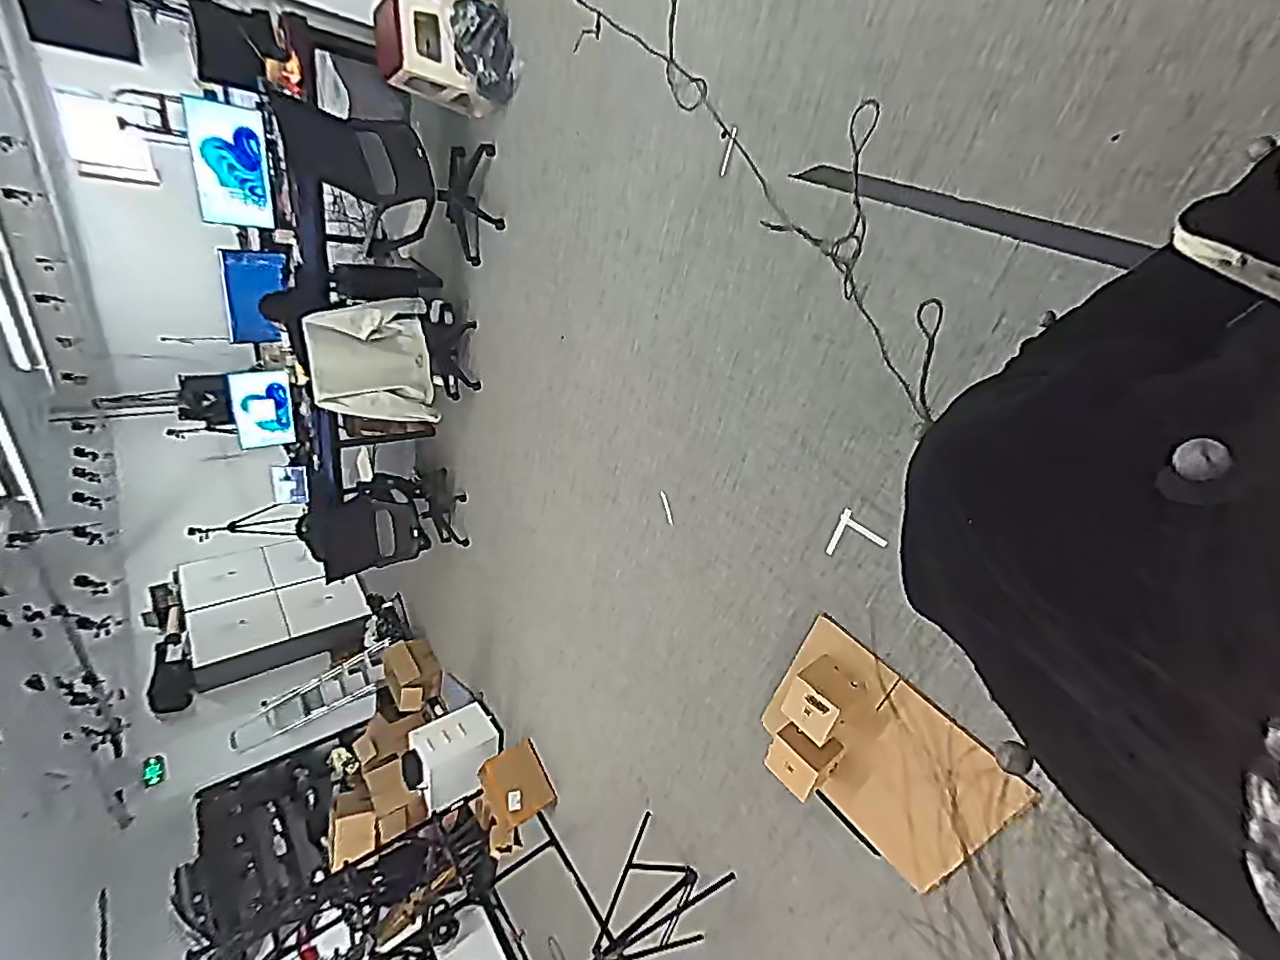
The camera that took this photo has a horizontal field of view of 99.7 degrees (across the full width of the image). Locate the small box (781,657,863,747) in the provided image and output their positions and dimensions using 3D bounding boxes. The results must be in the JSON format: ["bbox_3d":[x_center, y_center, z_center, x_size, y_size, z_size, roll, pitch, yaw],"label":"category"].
[{"bbox_3d":[0.591,0.708,1.745,0.168,0.176,0.179,37,127,38],"label":"small box"}]

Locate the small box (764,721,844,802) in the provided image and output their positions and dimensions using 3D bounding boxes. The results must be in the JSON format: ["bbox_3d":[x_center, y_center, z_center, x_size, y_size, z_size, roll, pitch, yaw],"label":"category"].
[{"bbox_3d":[0.561,0.943,1.852,0.179,0.176,0.168,34,127,39],"label":"small box"}]
